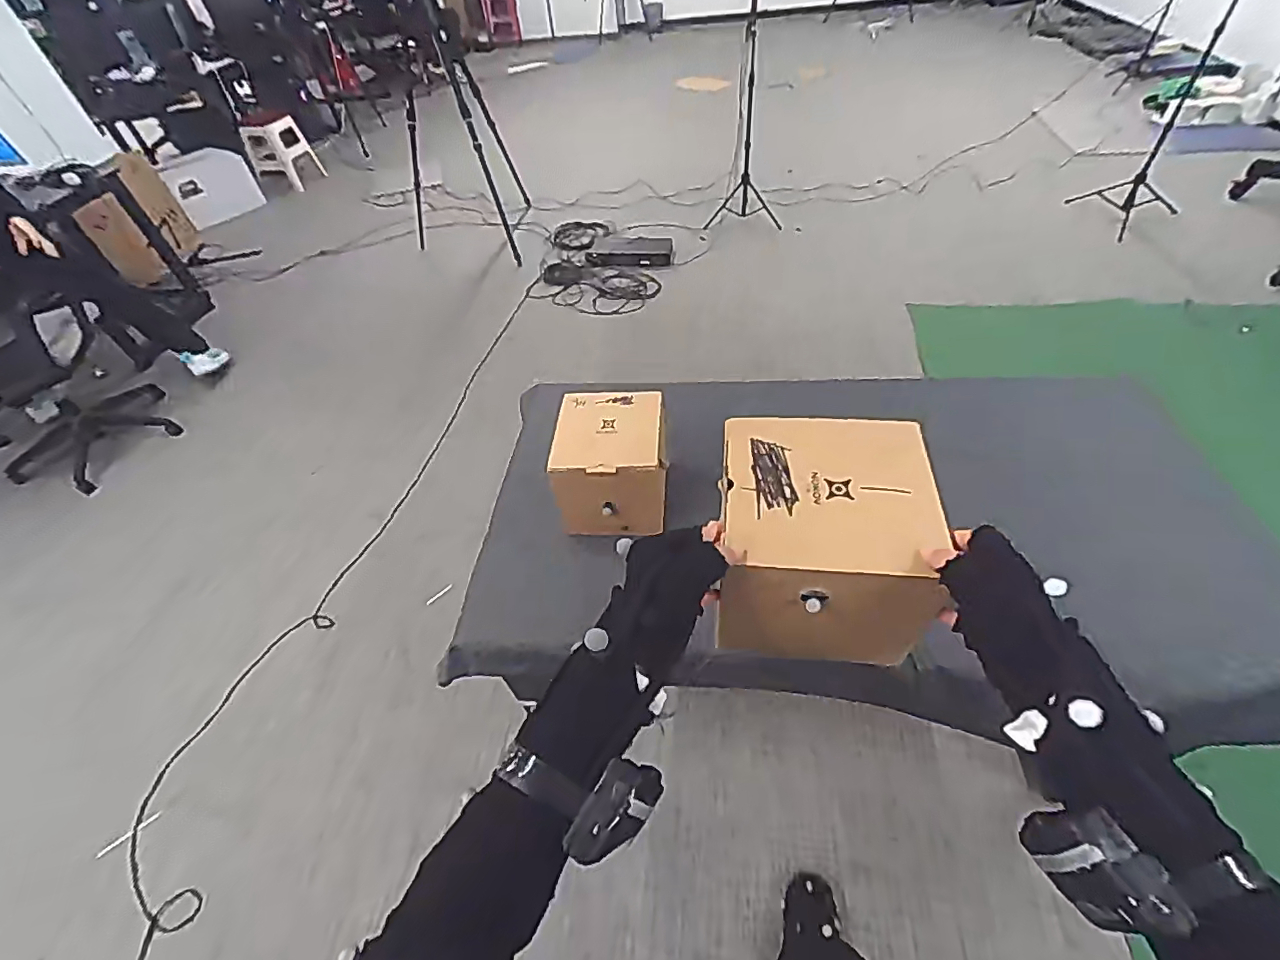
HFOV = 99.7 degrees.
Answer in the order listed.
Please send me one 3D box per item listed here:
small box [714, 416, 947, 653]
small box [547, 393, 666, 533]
[{"bbox_3d":[0.163,0.055,0.527,0.179,0.176,0.168,2,51,8],"label":"small box"},{"bbox_3d":[-0.044,-0.024,0.911,0.168,0.176,0.179,-1,49,7],"label":"small box"}]
